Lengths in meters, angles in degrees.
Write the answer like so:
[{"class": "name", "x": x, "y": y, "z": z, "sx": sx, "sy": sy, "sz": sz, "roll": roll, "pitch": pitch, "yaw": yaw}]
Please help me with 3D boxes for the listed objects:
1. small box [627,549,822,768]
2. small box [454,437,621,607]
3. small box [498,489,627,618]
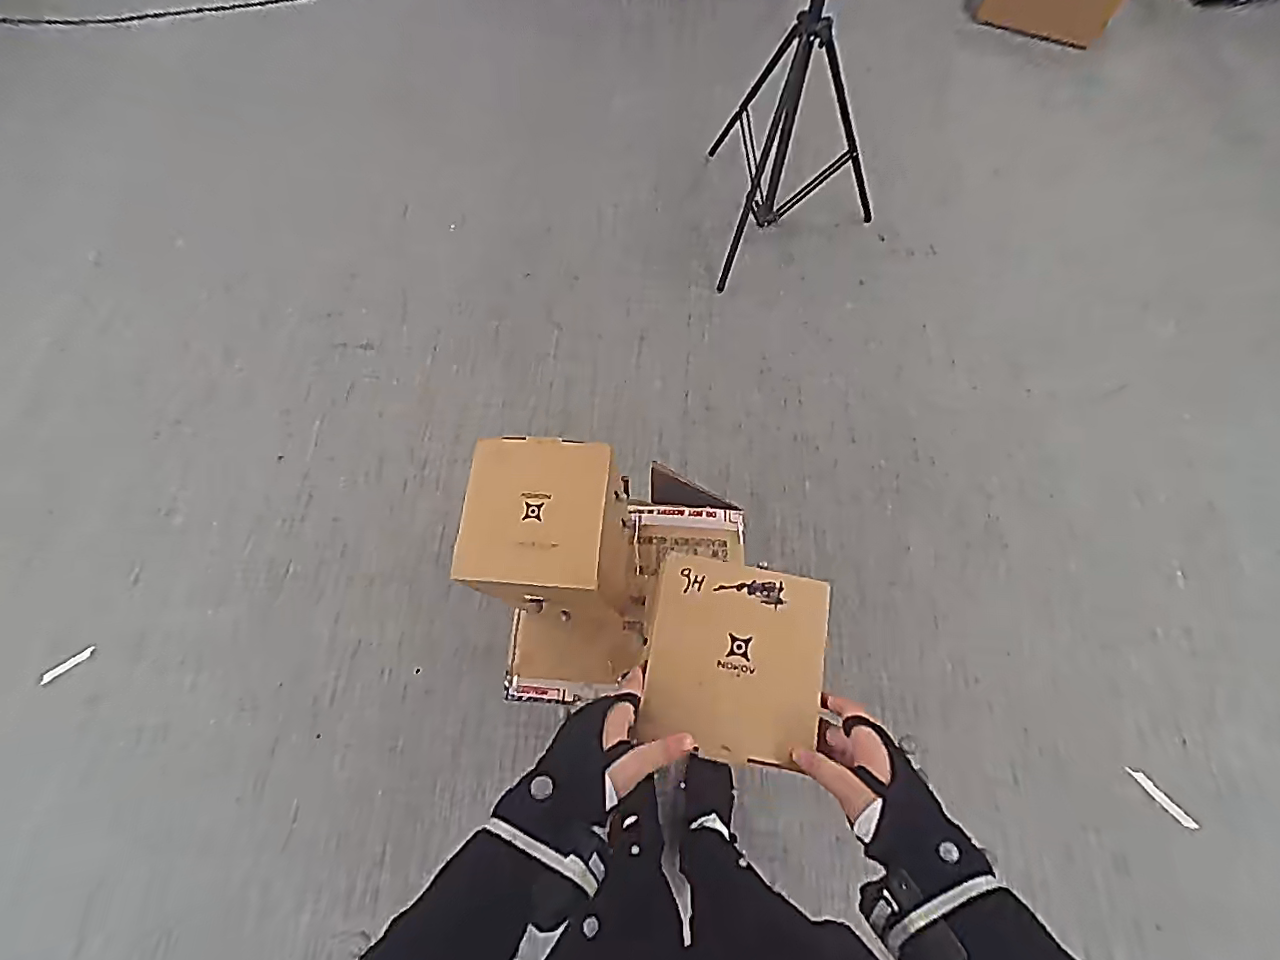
[{"class": "small box", "x": 0.085, "y": 0.191, "z": 0.598, "sx": 0.168, "sy": 0.176, "sz": 0.179, "roll": 12, "pitch": 72, "yaw": 2}, {"class": "small box", "x": -0.116, "y": 0.061, "z": 0.699, "sx": 0.168, "sy": 0.176, "sz": 0.179, "roll": 3, "pitch": 71, "yaw": 5}, {"class": "small box", "x": -0.111, "y": 0.115, "z": 0.852, "sx": 0.168, "sy": 0.176, "sz": 0.179, "roll": 3, "pitch": 71, "yaw": 4}]
